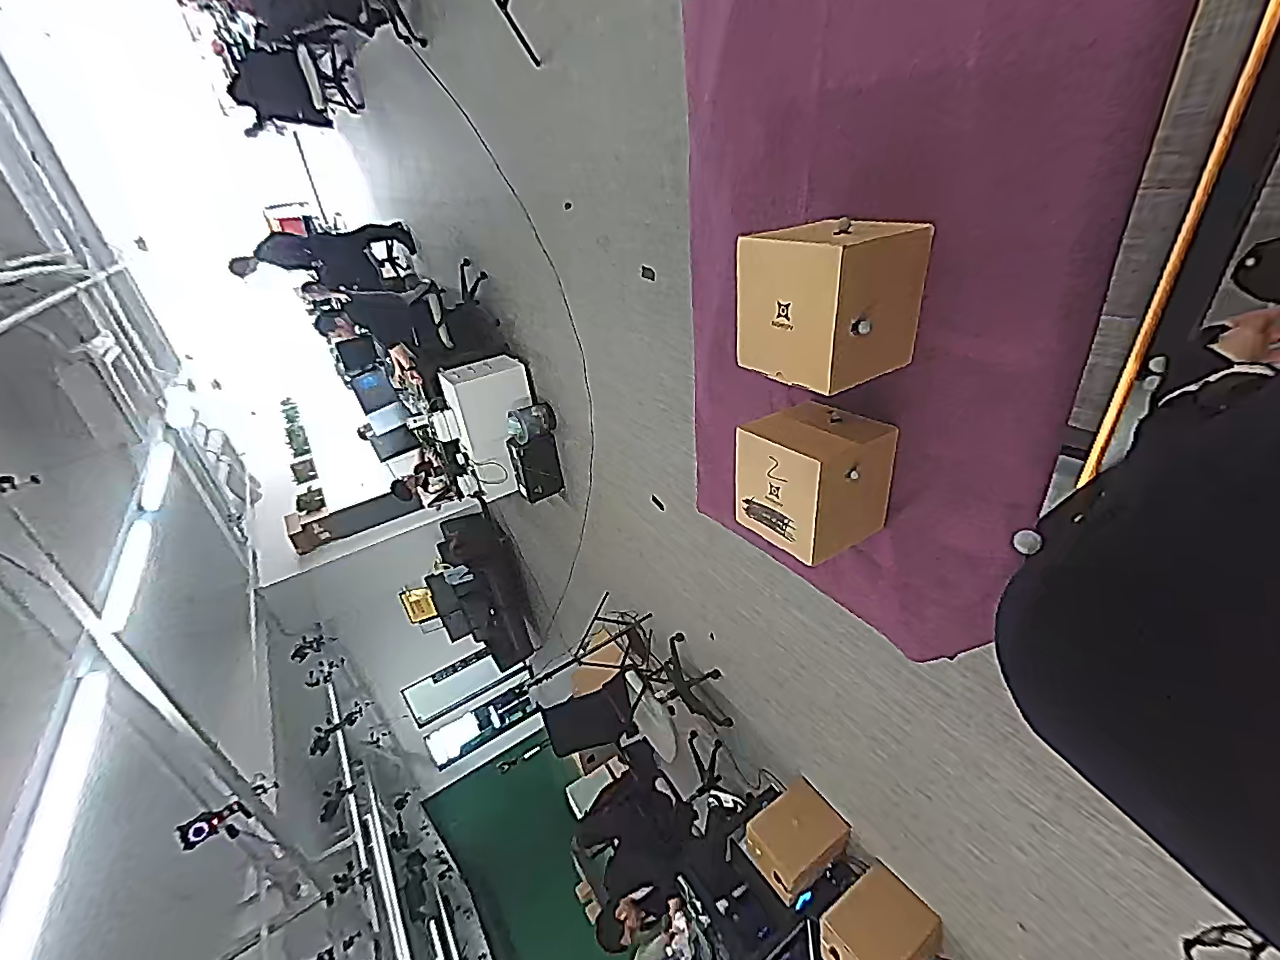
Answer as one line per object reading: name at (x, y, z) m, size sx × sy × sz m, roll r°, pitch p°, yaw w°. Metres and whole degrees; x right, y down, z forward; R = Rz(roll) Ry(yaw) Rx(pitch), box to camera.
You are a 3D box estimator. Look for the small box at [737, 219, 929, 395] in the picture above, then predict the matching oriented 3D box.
small box at (0.246, -0.236, 0.708) m, size 0.168 × 0.176 × 0.179 m, roll 36°, pitch 141°, yaw 48°
